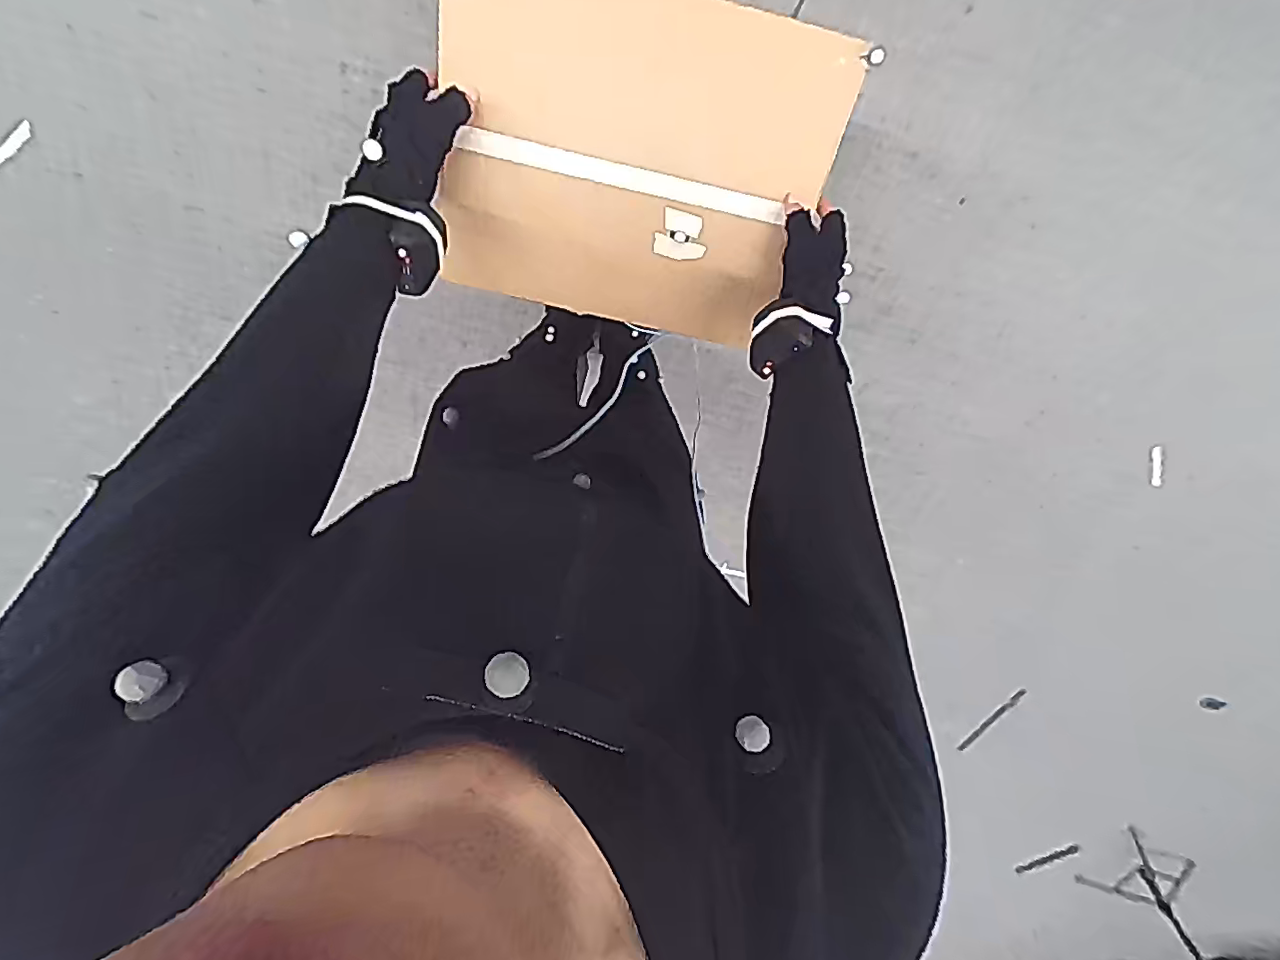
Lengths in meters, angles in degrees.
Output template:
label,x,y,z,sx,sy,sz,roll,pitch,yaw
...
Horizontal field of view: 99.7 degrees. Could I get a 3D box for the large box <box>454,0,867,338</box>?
label,x,y,z,sx,sy,sz,roll,pitch,yaw
large box,0.001,-0.422,0.711,0.408,0.320,0.320,12,125,-5
